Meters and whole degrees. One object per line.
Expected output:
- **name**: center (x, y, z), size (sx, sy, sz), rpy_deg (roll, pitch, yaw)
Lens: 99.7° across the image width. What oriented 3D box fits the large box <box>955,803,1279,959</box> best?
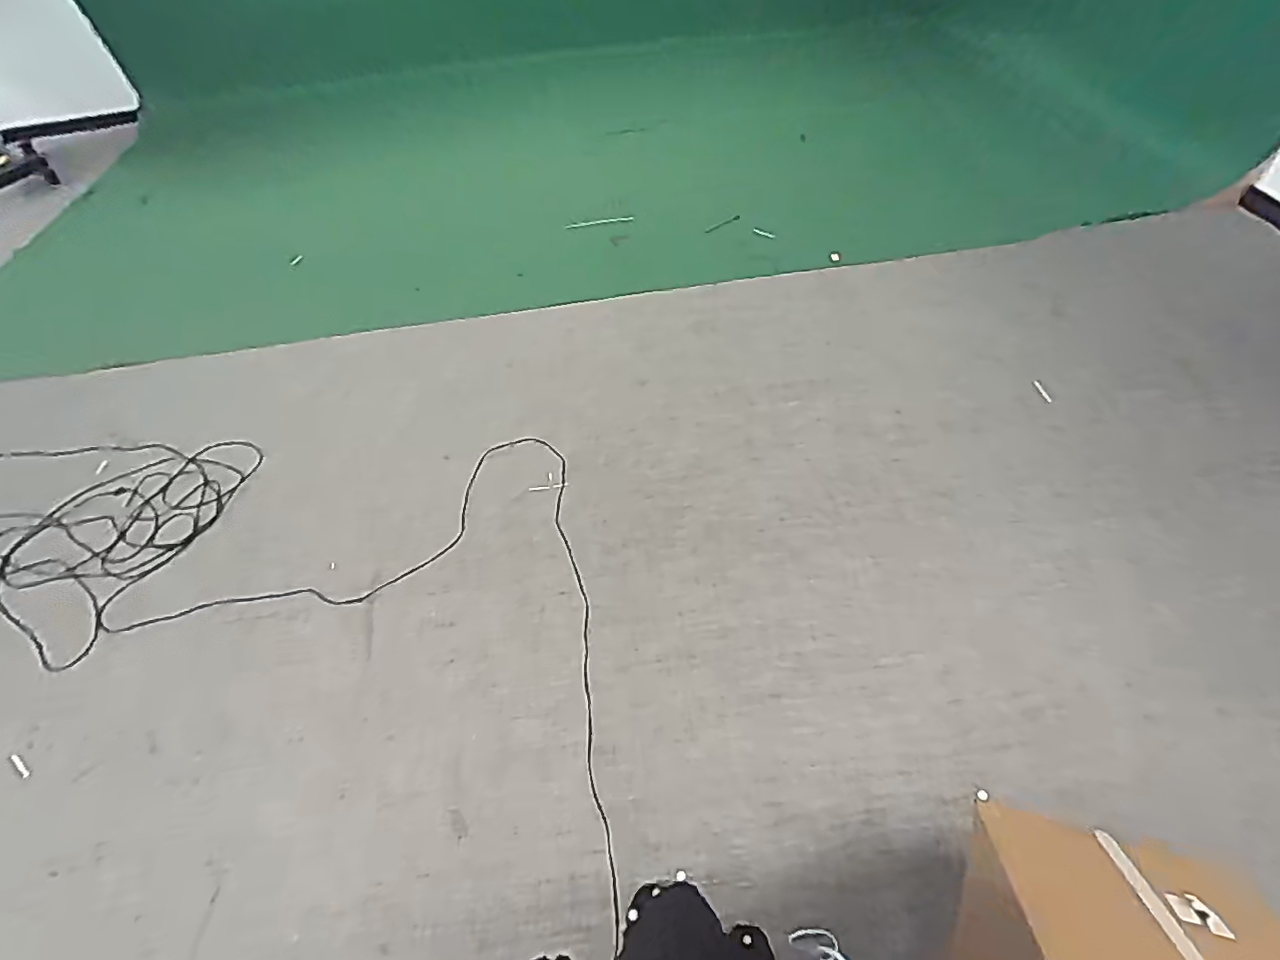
- **large box**: center (0.585, 0.669, 0.609), size (0.320, 0.408, 0.320), rpy_deg (8, 94, 18)
